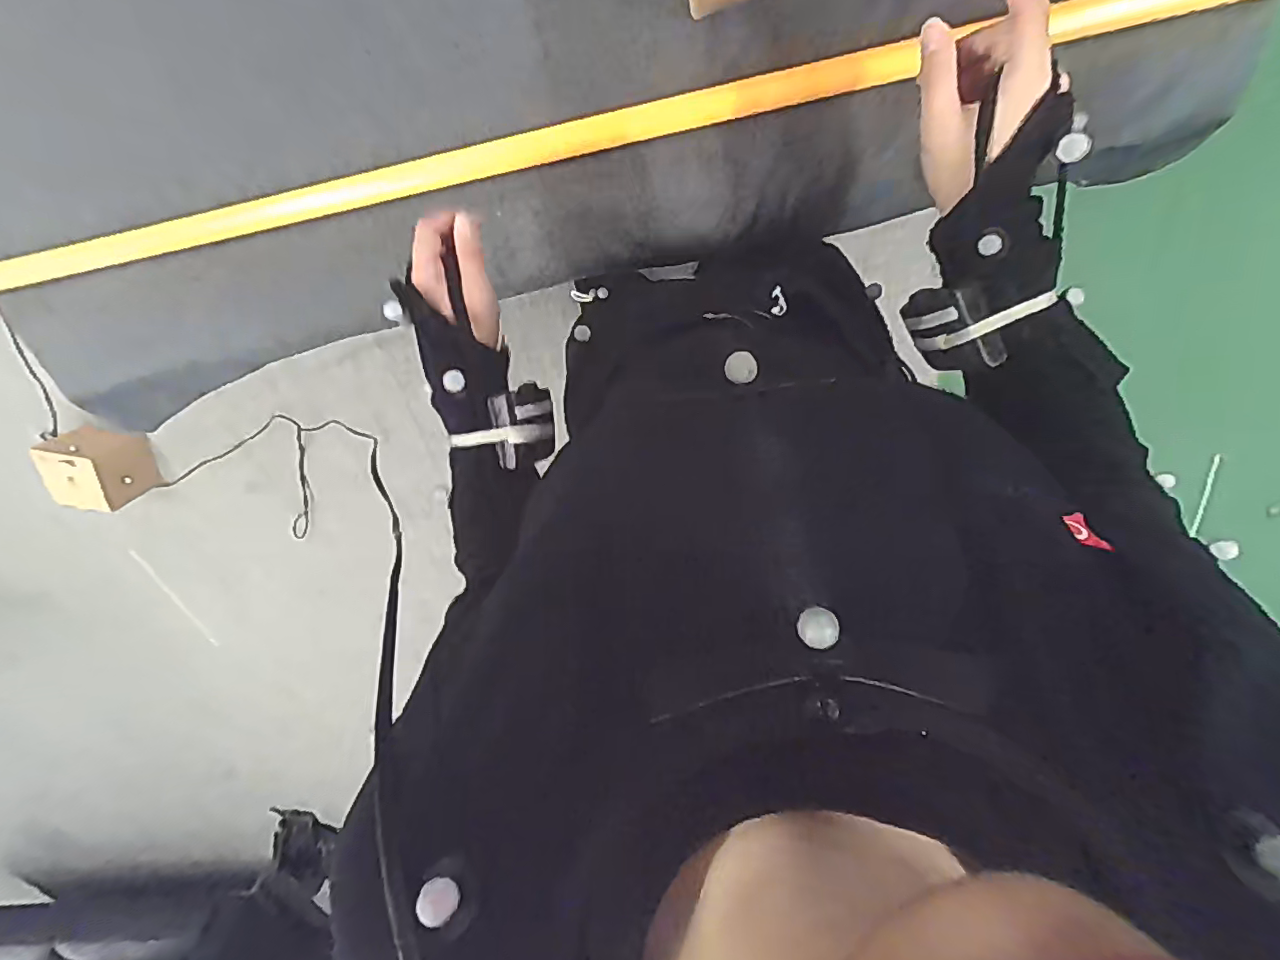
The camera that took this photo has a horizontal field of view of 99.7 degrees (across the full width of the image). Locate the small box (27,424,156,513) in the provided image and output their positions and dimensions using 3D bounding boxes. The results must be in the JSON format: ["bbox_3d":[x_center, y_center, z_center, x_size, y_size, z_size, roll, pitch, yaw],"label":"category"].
[{"bbox_3d":[-1.524,-0.035,1.519,0.168,0.176,0.179,10,120,0],"label":"small box"}]
